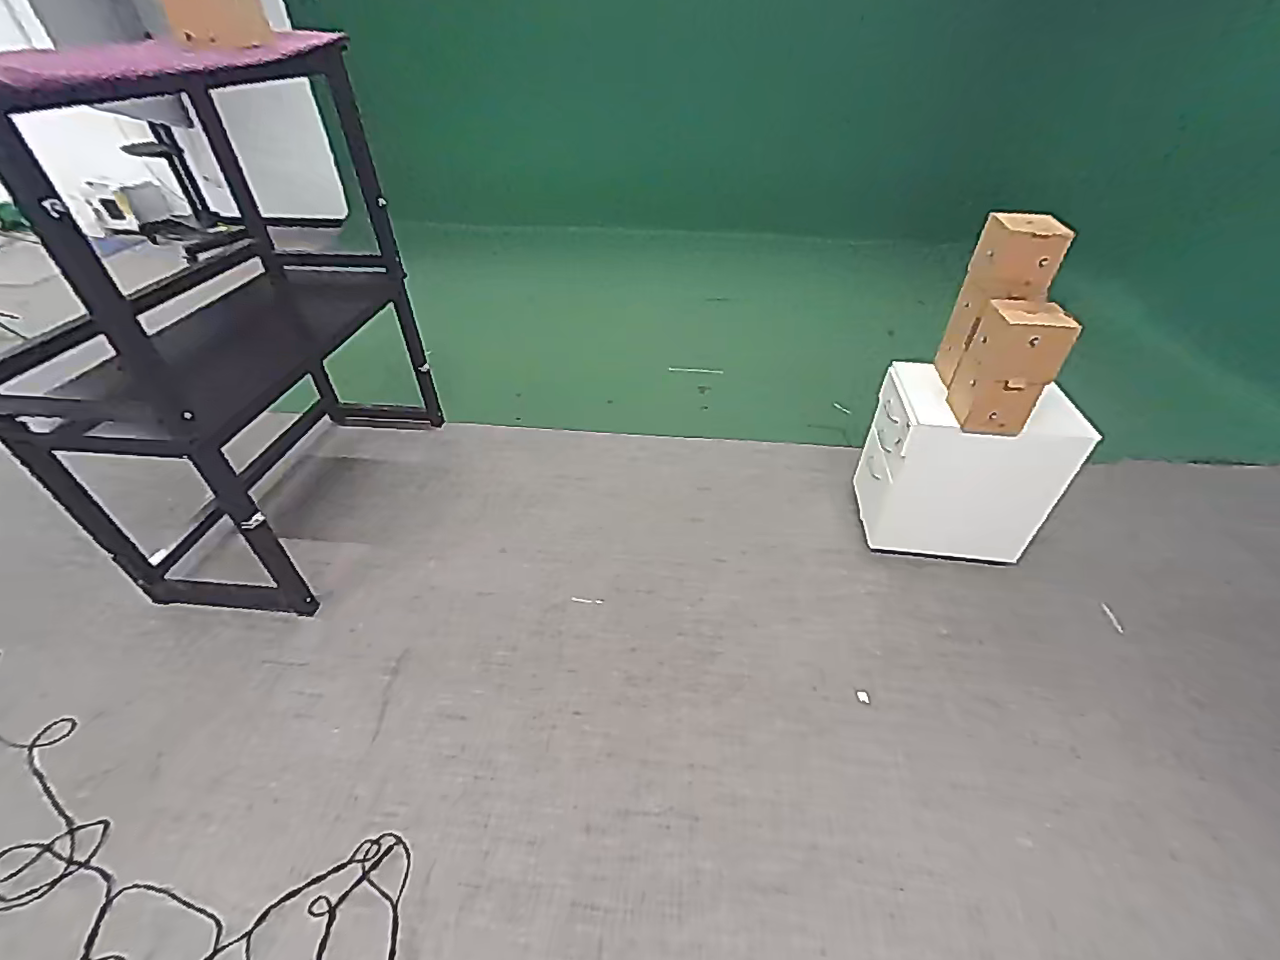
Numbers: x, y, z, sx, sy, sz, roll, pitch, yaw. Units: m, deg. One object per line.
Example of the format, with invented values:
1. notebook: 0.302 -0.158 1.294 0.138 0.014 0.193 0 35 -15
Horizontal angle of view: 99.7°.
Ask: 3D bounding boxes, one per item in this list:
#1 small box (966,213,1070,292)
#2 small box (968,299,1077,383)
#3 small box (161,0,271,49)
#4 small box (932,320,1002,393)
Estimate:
1. small box: 1.081 -0.657 1.563 0.168 0.176 0.179 7 41 5
2. small box: 1.041 -0.383 1.496 0.179 0.176 0.168 7 41 6
3. small box: -1.154 -1.281 1.465 0.168 0.176 0.179 3 41 7
4. small box: 1.090 -0.407 1.776 0.168 0.176 0.179 5 42 6
